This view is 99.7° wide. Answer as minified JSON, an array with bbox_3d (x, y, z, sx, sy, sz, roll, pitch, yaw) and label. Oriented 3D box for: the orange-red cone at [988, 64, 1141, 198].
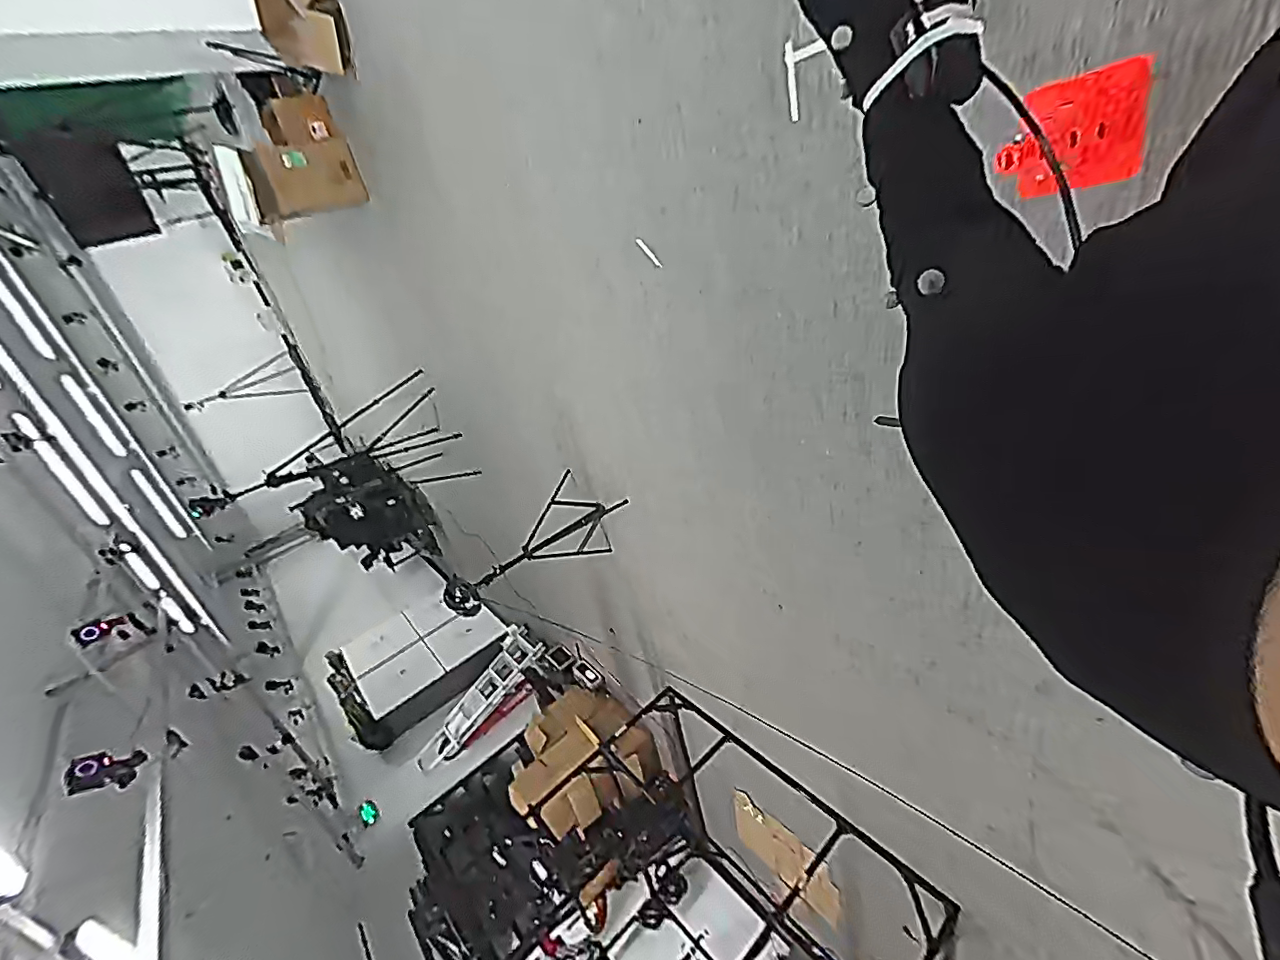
[{"bbox_3d":[0.717,-0.593,0.970,0.199,0.360,0.198,15,130,48],"label":"orange-red cone"}]
